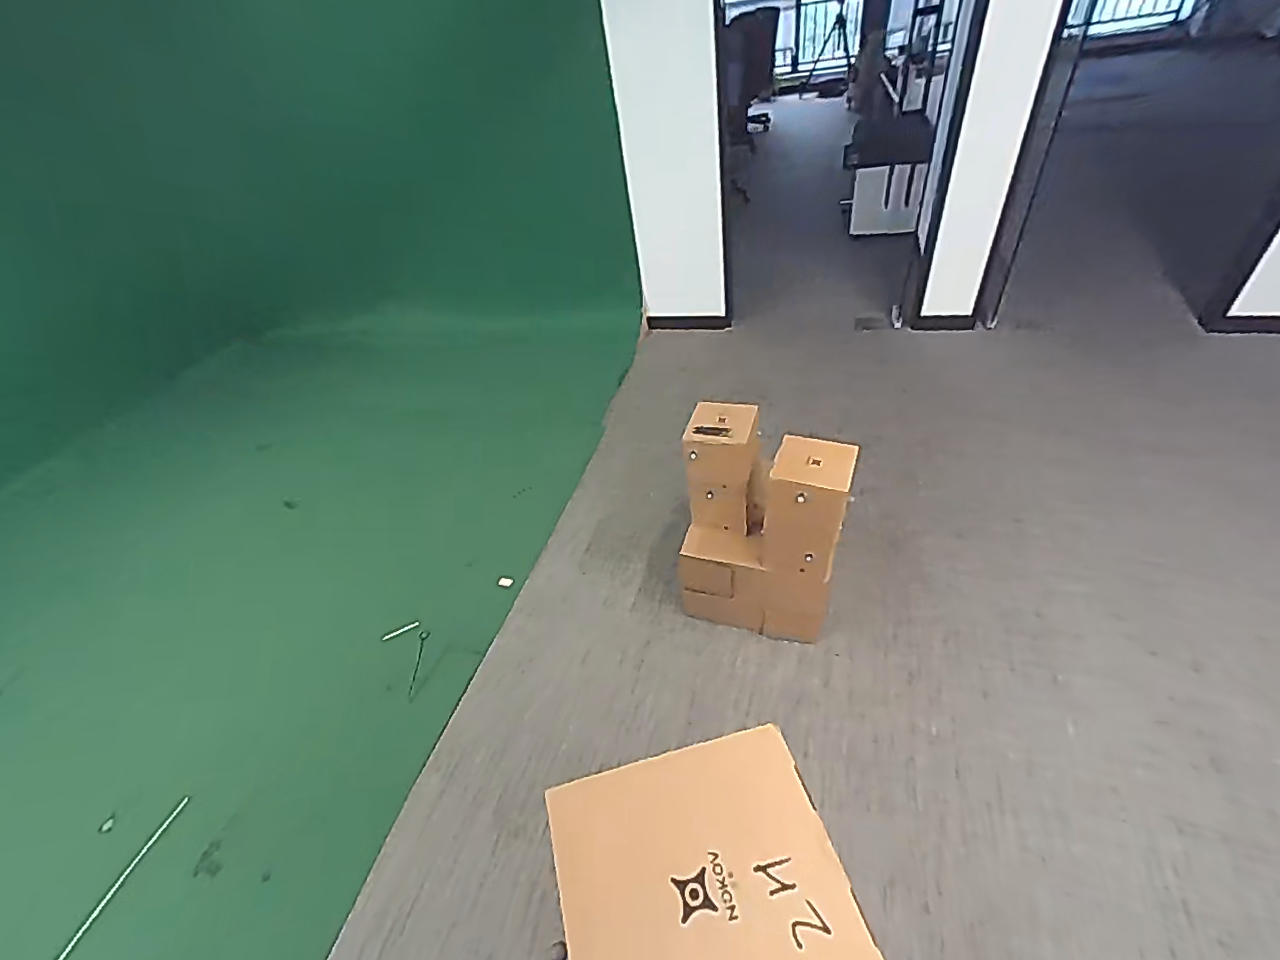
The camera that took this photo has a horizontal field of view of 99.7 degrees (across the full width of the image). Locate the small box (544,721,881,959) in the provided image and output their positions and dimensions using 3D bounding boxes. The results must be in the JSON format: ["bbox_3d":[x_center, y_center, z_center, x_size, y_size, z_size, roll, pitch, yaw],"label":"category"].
[{"bbox_3d":[0.037,0.304,0.384,0.179,0.176,0.168,-10,46,-12],"label":"small box"}]

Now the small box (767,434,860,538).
[{"bbox_3d":[0.411,0.017,1.293,0.179,0.176,0.168,12,46,22],"label":"small box"}]

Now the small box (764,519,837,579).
[{"bbox_3d":[0.425,0.130,1.410,0.168,0.176,0.179,12,45,21],"label":"small box"}]

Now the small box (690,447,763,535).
[{"bbox_3d":[0.252,0.031,1.559,0.168,0.176,0.179,9,44,23],"label":"small box"}]
